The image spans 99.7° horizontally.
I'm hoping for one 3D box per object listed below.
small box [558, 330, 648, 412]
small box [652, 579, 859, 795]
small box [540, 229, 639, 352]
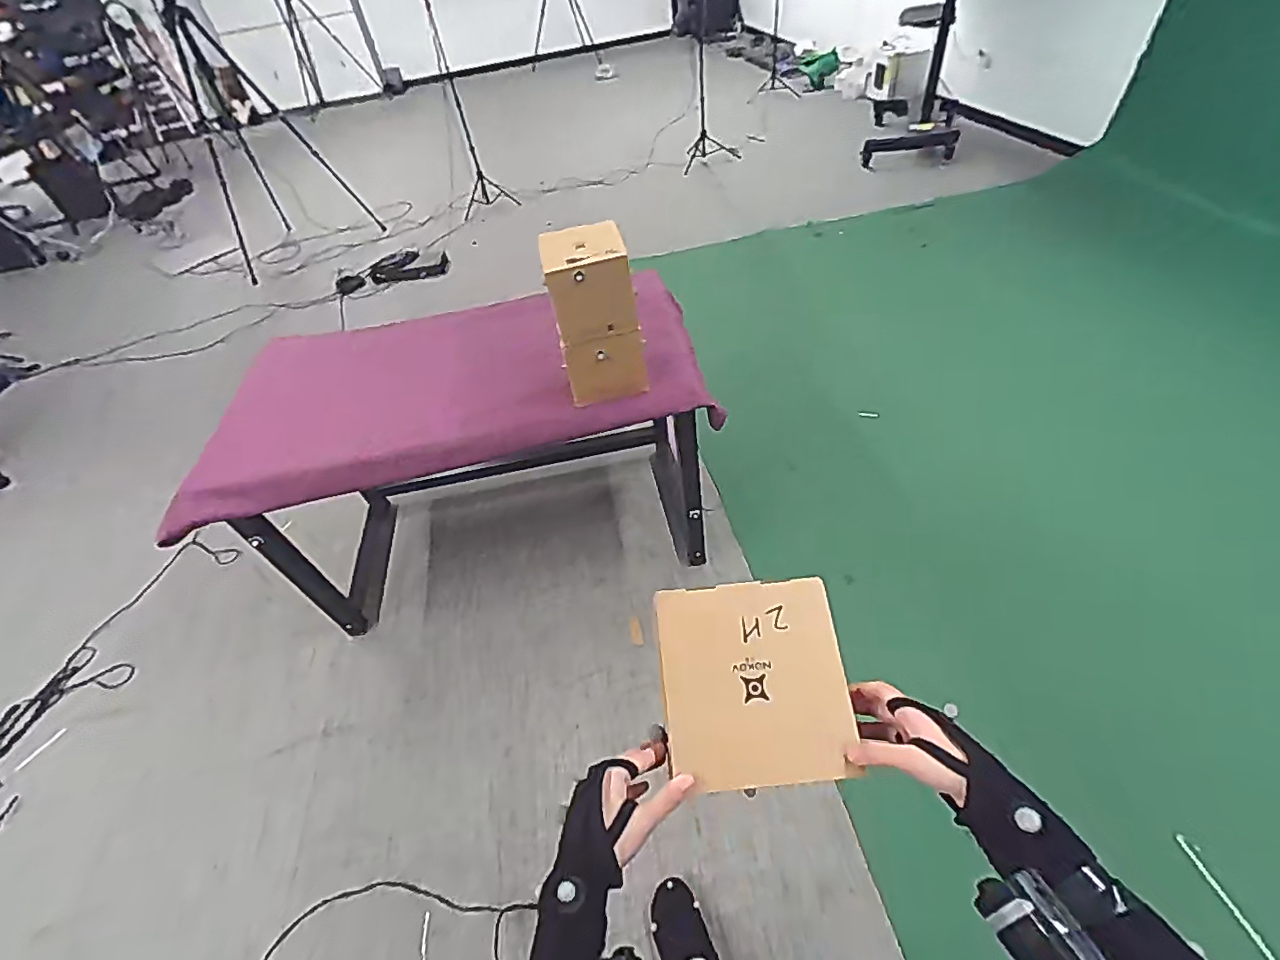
[{"bbox_3d":[-0.083,-0.285,1.259,0.179,0.176,0.168,-15,47,-1],"label":"small box"},{"bbox_3d":[0.103,0.215,0.566,0.168,0.176,0.179,-5,64,-1],"label":"small box"},{"bbox_3d":[-0.106,-0.397,1.142,0.168,0.176,0.179,-15,46,0],"label":"small box"}]
